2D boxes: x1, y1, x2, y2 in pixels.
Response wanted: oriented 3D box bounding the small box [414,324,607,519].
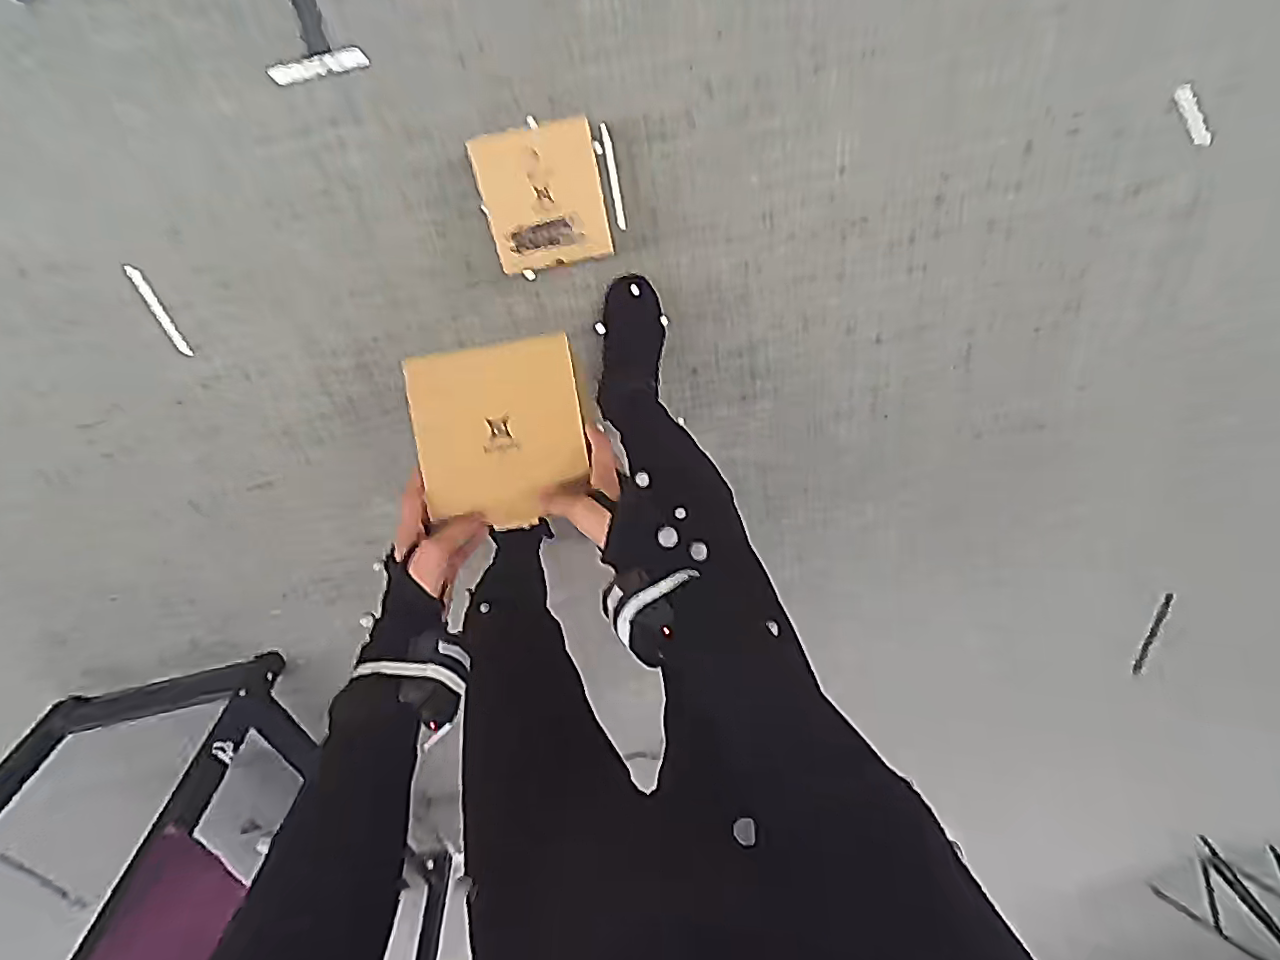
[{"bbox_3d":[-0.132,-0.058,0.611,0.168,0.176,0.179,-9,91,-1],"label":"small box"}]
